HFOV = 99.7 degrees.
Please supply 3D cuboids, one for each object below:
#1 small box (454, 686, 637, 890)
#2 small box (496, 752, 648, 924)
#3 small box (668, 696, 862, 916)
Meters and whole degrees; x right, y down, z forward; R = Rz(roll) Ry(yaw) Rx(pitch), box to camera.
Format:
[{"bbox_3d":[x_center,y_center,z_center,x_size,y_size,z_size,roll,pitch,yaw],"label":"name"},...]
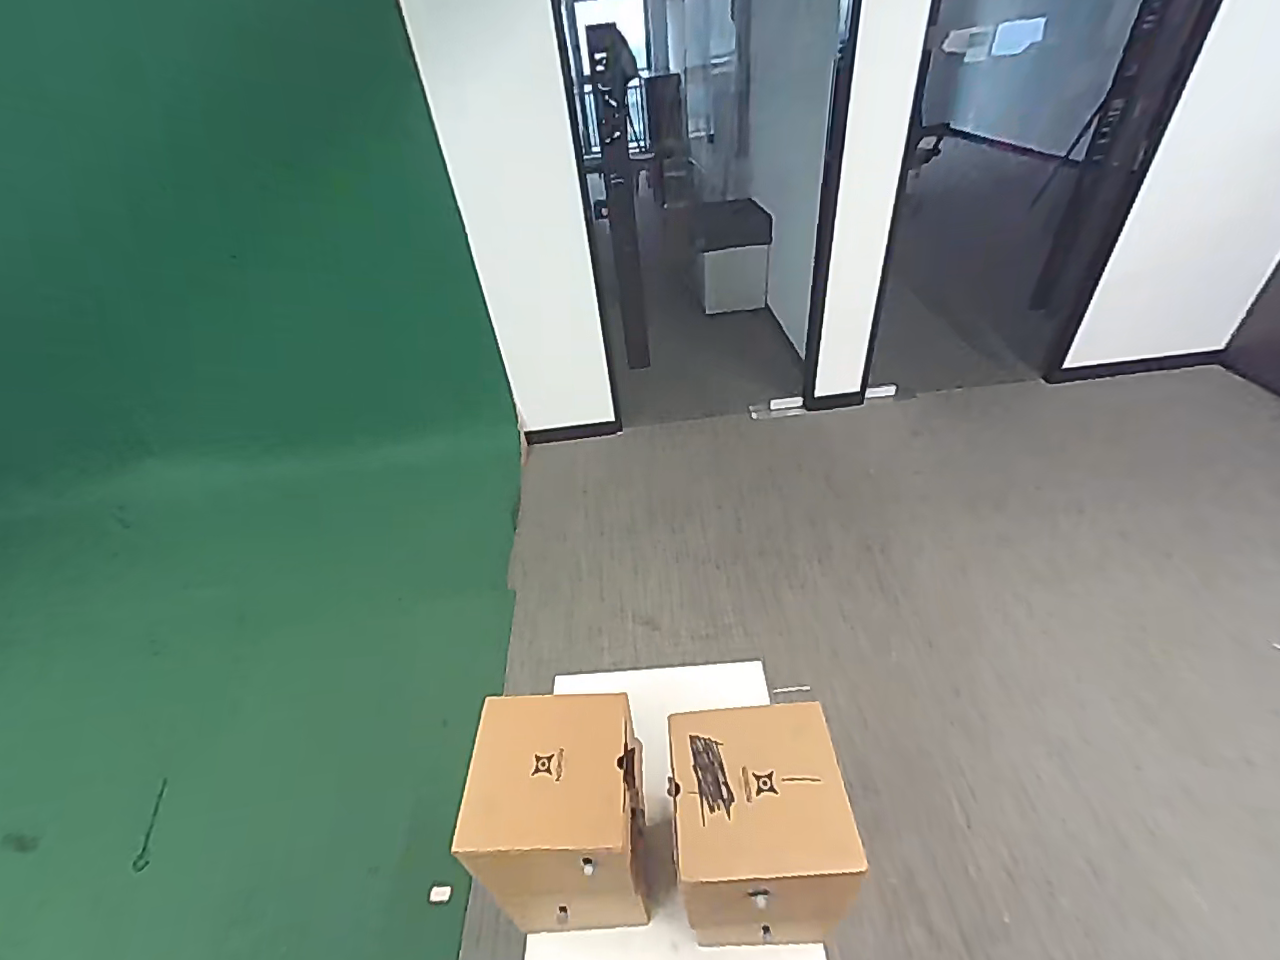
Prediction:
[{"bbox_3d":[-0.096,0.369,0.649,0.179,0.176,0.168,-2,39,1],"label":"small box"},{"bbox_3d":[-0.084,0.495,0.754,0.179,0.176,0.168,-4,39,1],"label":"small box"},{"bbox_3d":[0.129,0.370,0.613,0.179,0.176,0.168,-5,39,3],"label":"small box"}]
